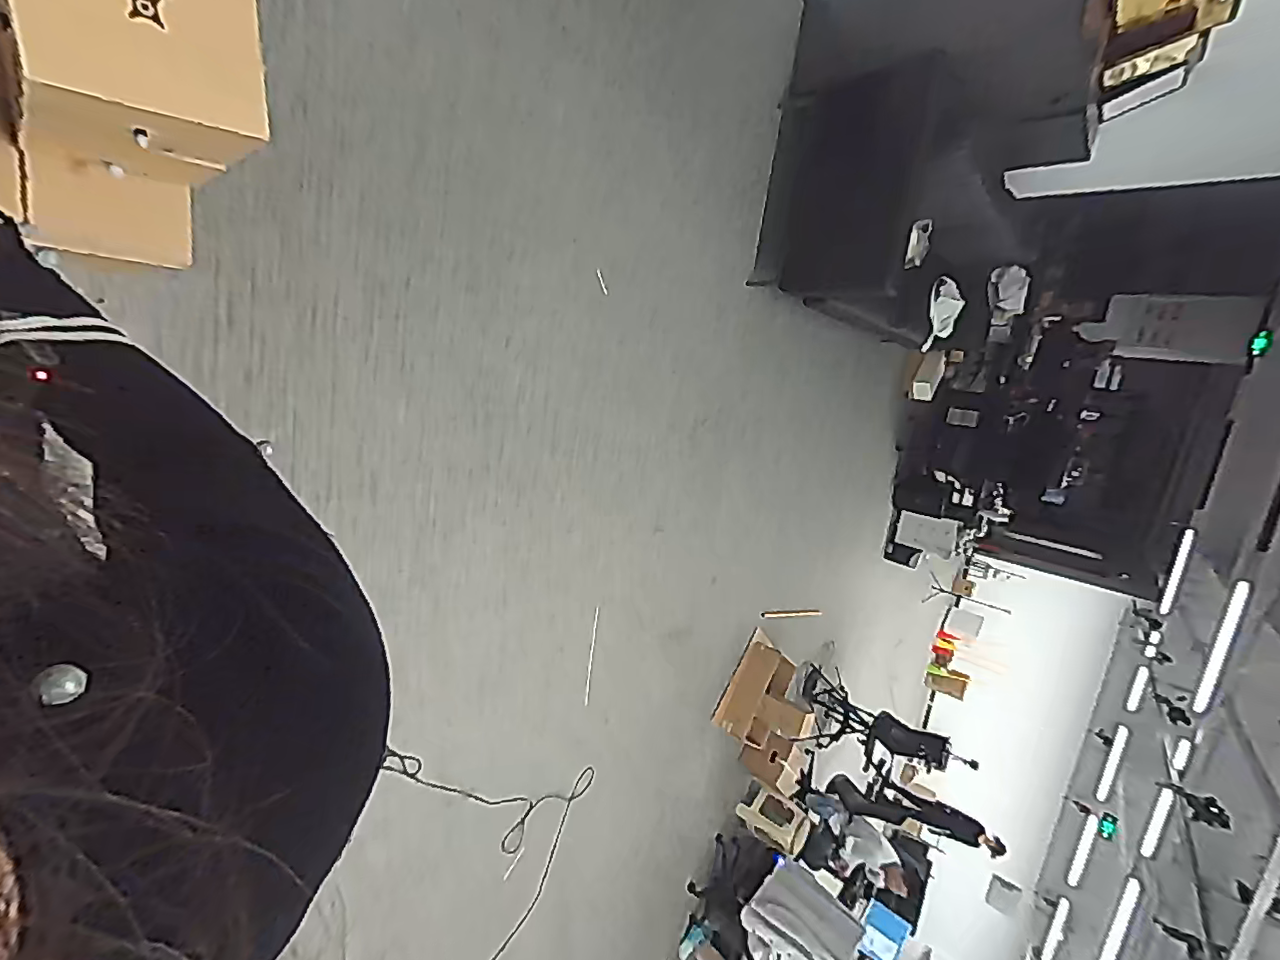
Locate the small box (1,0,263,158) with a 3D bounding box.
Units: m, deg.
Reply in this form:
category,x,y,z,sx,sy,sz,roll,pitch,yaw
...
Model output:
category,x,y,z,sx,sy,sz,roll,pitch,yaw
small box,-0.483,-0.430,0.515,0.168,0.176,0.179,-12,112,-46
